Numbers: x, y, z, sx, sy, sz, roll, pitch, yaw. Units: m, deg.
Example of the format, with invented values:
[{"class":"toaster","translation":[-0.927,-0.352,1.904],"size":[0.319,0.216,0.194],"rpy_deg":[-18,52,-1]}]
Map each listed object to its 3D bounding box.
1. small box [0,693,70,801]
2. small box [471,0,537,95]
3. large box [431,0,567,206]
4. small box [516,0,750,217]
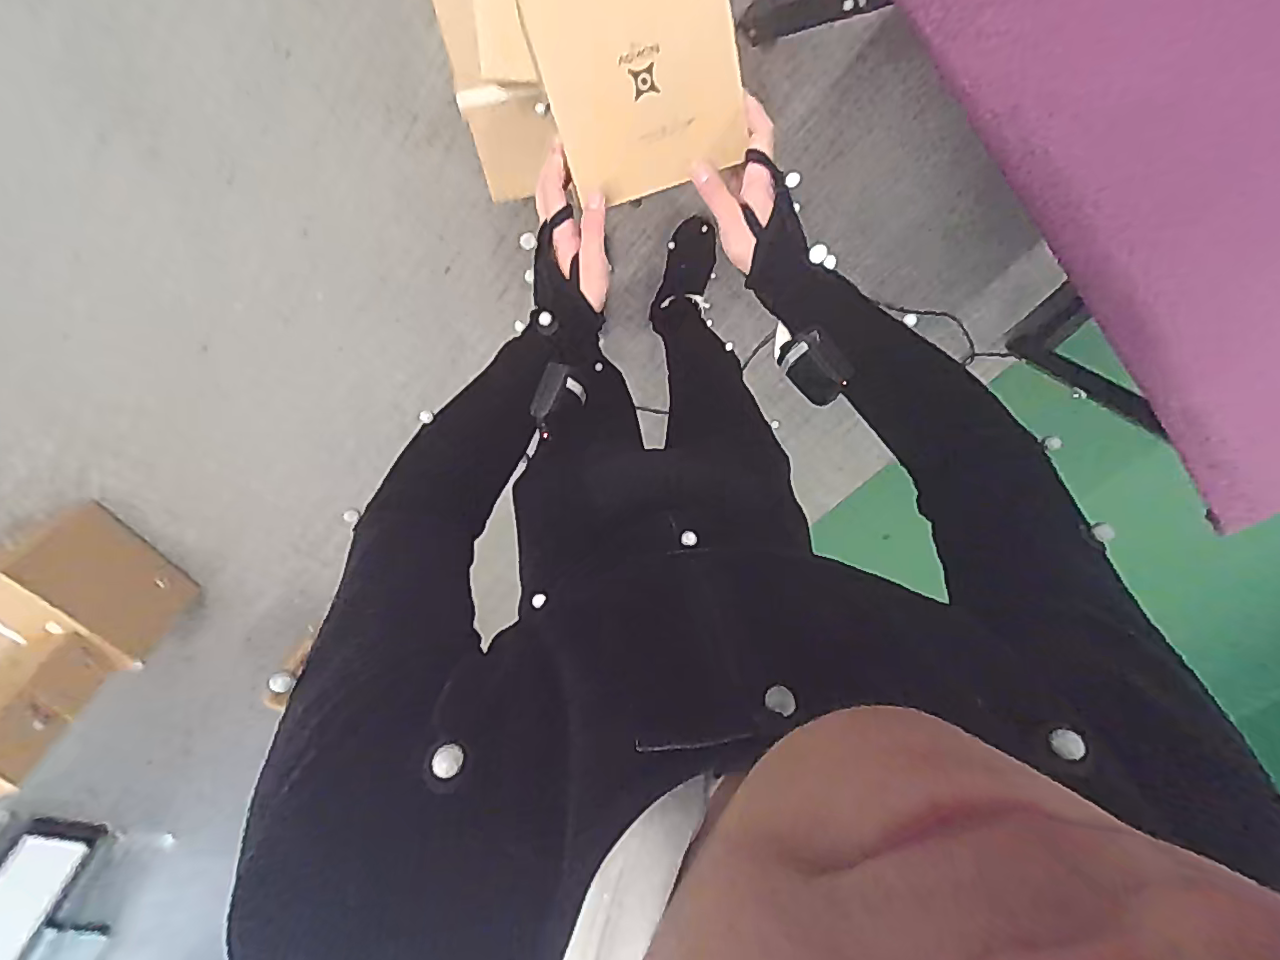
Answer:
[{"class":"small box","translation":[-1.503,0.619,1.240],"size":[0.179,0.176,0.168],"rpy_deg":[-12,125,-1]},{"class":"small box","translation":[-0.133,-0.640,0.748],"size":[0.179,0.176,0.168],"rpy_deg":[-3,123,-6]},{"class":"large box","translation":[-0.109,-0.732,0.986],"size":[0.408,0.320,0.320],"rpy_deg":[-13,126,0]},{"class":"small box","translation":[-0.011,-0.368,0.513],"size":[0.168,0.176,0.179],"rpy_deg":[-17,121,1]}]
